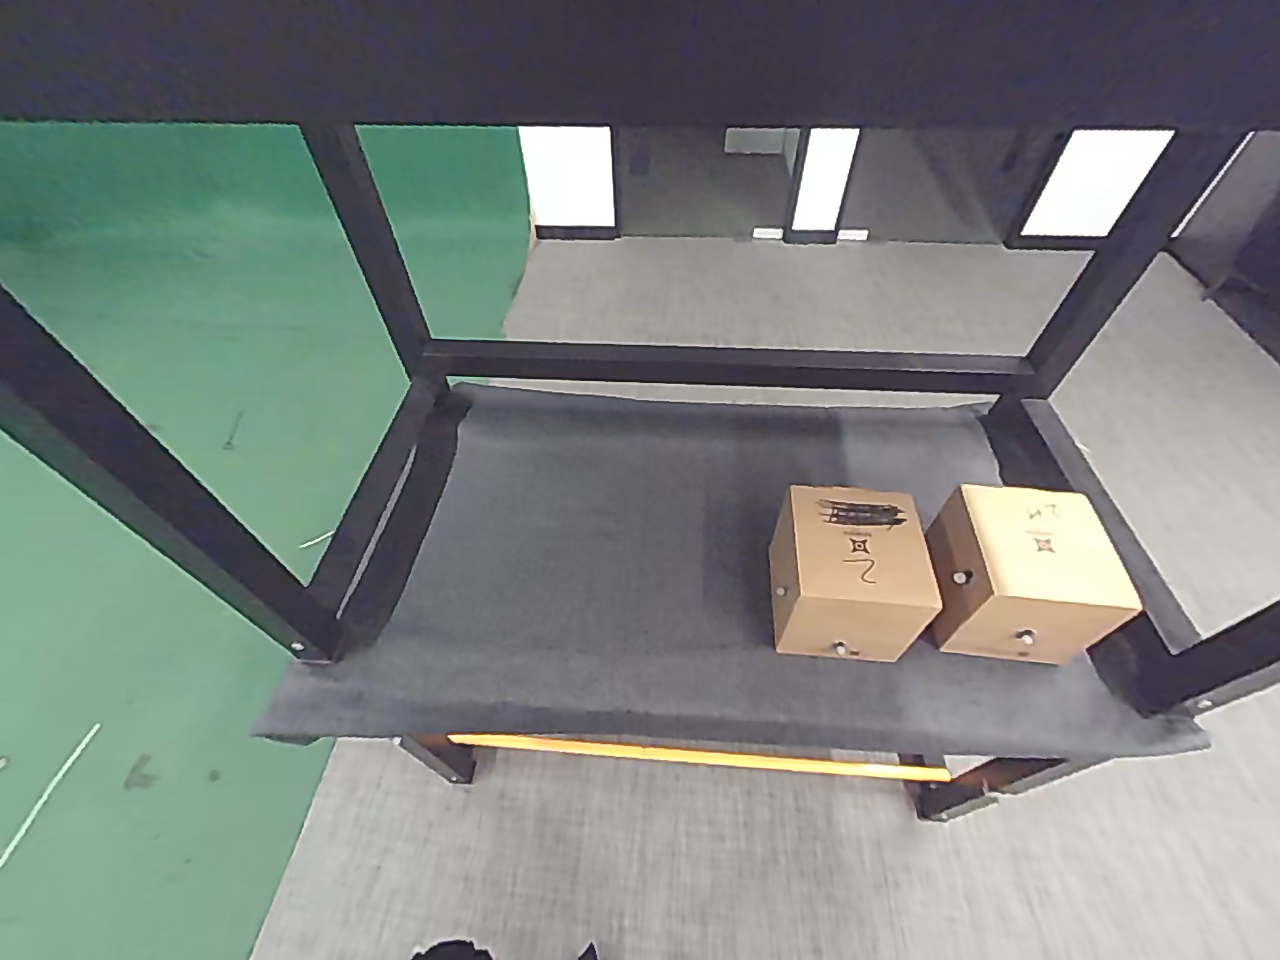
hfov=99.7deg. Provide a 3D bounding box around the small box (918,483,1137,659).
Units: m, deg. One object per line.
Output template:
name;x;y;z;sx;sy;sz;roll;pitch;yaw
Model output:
small box;0.511;0.129;0.748;0.168;0.176;0.179;5;50;6
